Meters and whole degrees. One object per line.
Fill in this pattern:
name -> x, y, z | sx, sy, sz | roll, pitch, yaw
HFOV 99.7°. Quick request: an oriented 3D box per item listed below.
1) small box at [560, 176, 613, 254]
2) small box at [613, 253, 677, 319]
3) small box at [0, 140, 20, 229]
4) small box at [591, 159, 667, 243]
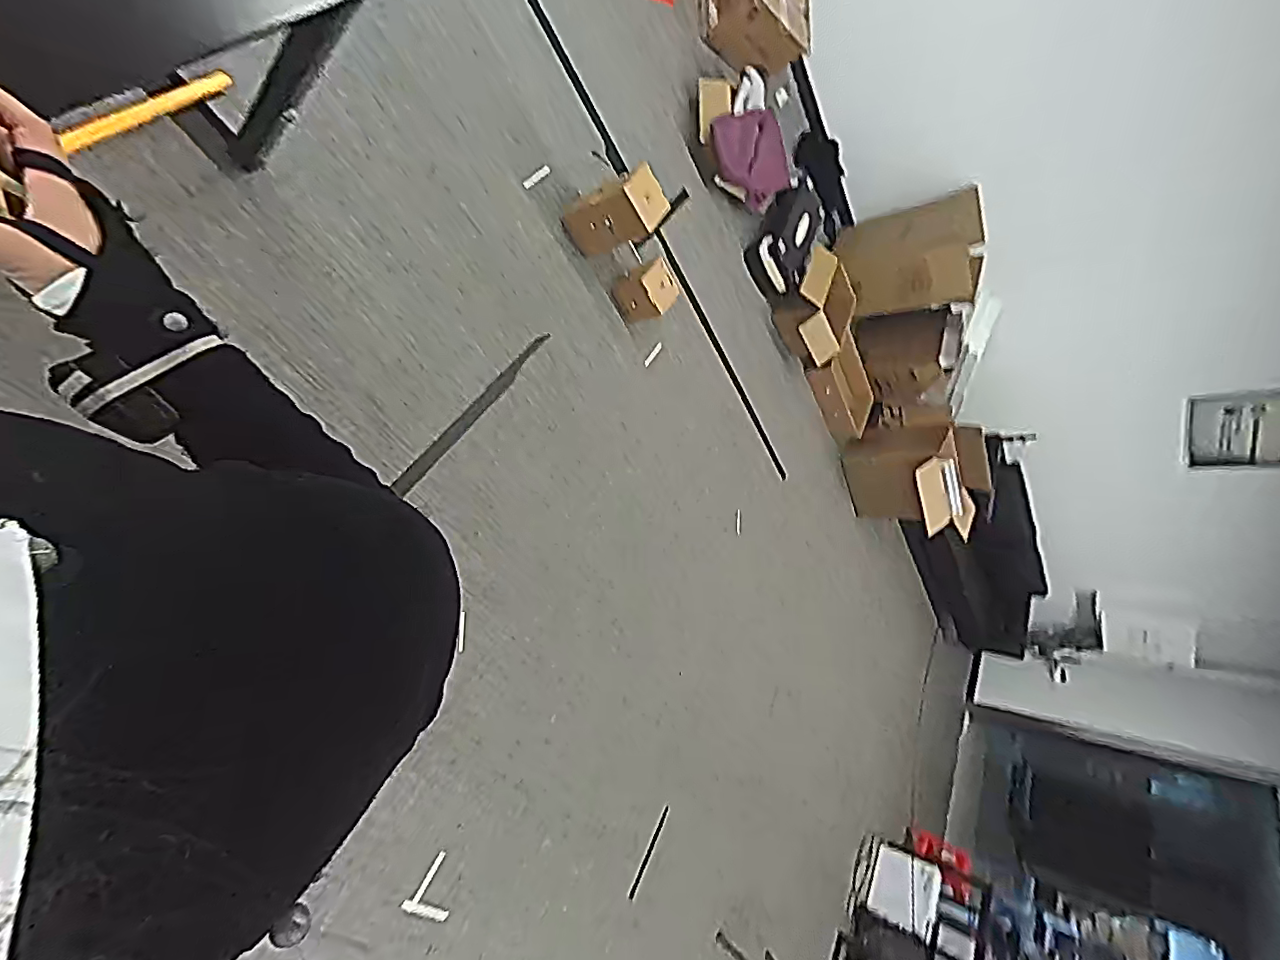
small box -> -0.160, -0.963, 1.979 | 0.179, 0.176, 0.168 | 53, 54, -34
small box -> 0.014, -0.772, 2.169 | 0.168, 0.176, 0.179 | 54, 54, -32
small box -> -0.475, -0.230, 0.274 | 0.168, 0.176, 0.179 | -22, 118, -51
small box -> -0.041, -0.959, 1.869 | 0.168, 0.176, 0.179 | 49, 57, -33
